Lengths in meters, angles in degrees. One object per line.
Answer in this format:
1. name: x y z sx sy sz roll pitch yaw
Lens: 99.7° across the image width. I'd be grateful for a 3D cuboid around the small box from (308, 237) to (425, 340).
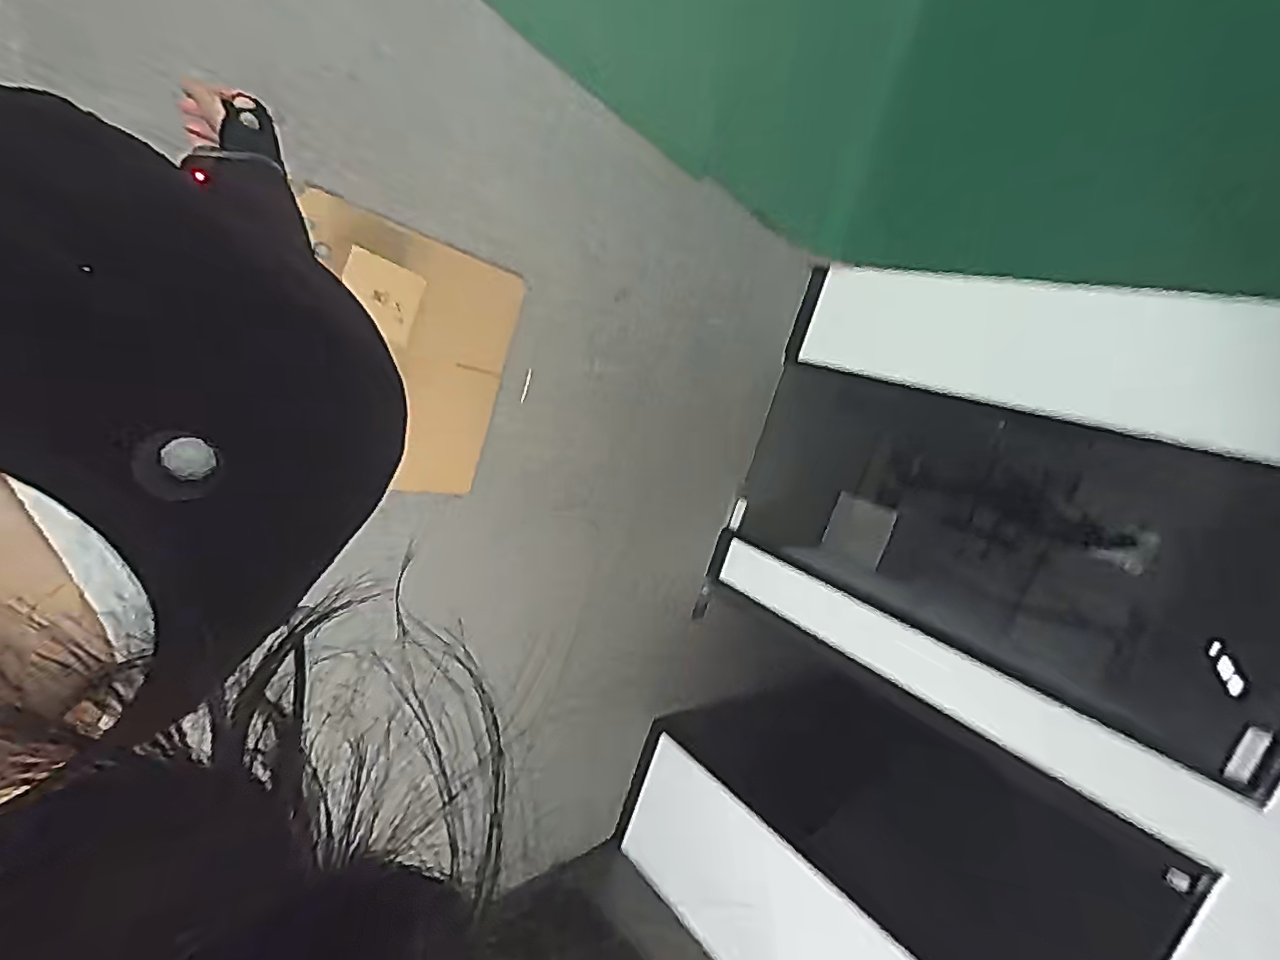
1. small box: -0.646 -0.449 1.268 0.179 0.176 0.168 17 99 -49
